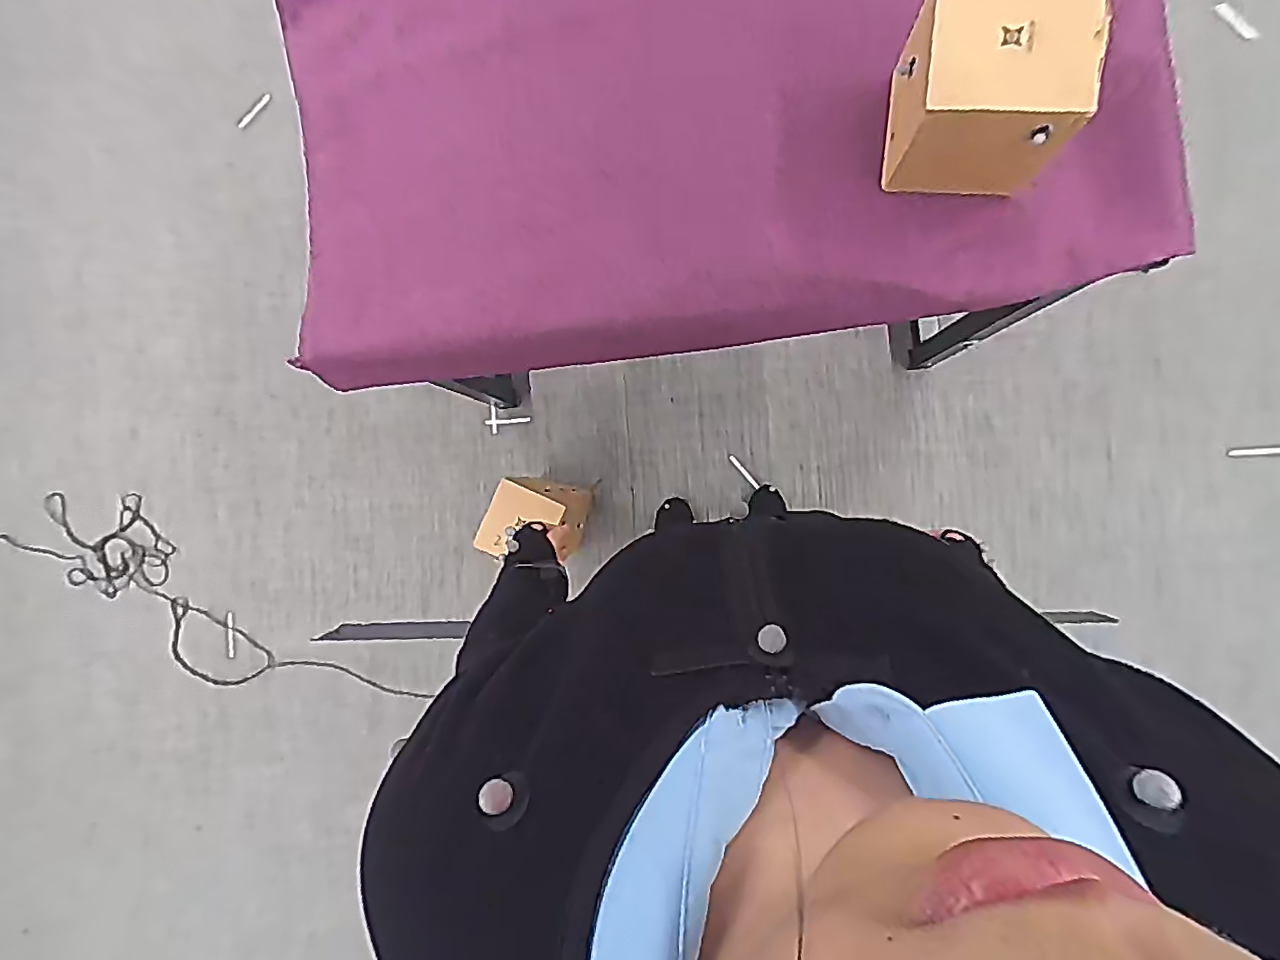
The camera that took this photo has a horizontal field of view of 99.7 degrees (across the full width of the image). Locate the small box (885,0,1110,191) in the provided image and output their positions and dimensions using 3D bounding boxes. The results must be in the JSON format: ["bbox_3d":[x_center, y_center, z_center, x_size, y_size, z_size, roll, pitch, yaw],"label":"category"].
[{"bbox_3d":[0.418,-0.478,0.661,0.179,0.176,0.168,5,90,7],"label":"small box"}]

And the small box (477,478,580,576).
[{"bbox_3d":[-0.258,0.105,1.302,0.168,0.176,0.179,24,93,6],"label":"small box"}]
